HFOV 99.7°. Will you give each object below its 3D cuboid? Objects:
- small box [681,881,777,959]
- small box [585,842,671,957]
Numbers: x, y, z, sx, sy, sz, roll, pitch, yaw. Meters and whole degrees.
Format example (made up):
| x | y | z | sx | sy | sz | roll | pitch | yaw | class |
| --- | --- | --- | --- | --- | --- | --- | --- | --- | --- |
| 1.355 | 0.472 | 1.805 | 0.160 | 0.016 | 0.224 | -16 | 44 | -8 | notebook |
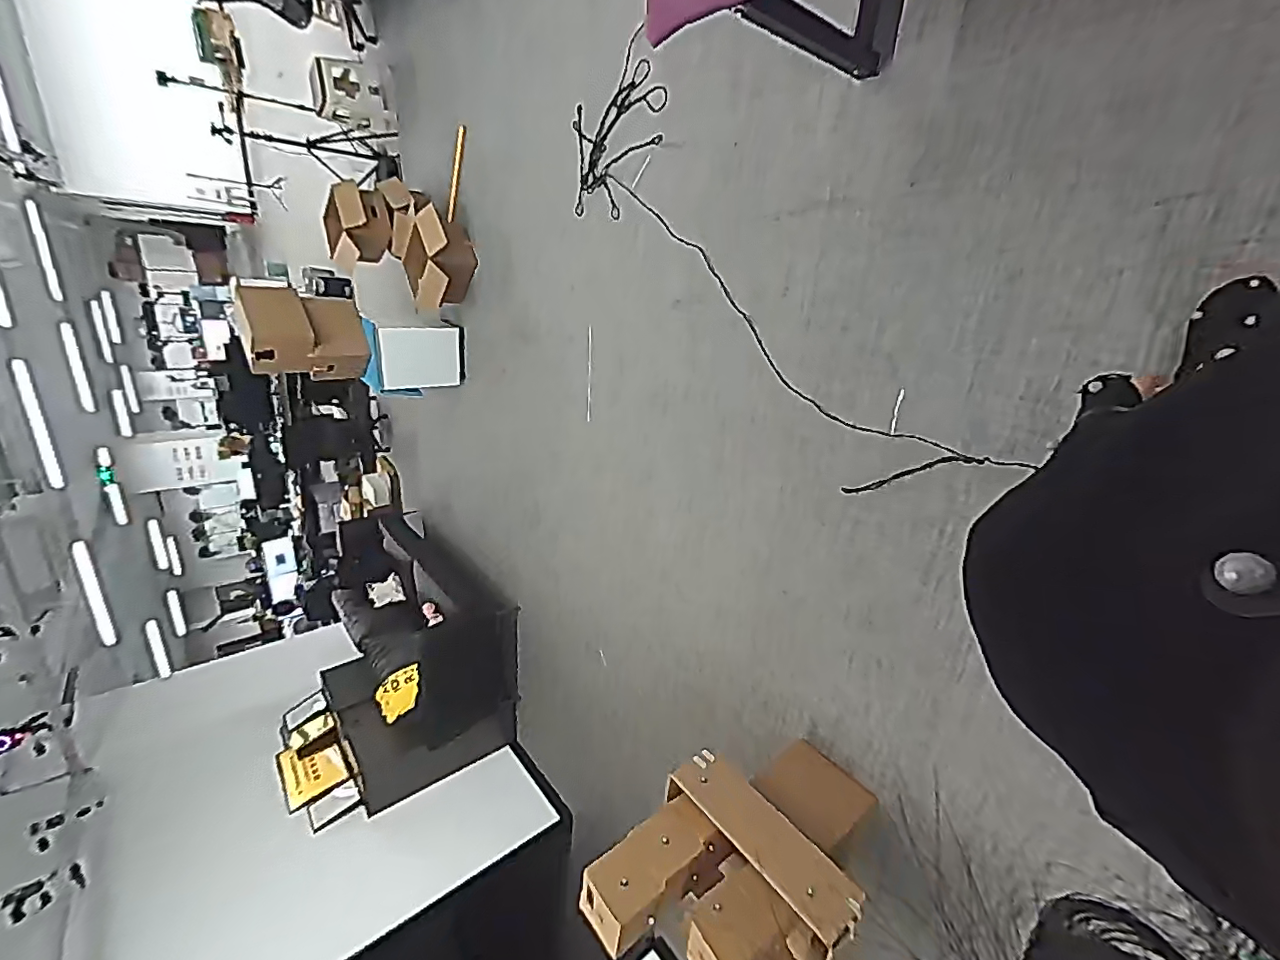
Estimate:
| x | y | z | sx | sy | sz | roll | pitch | yaw | class |
| --- | --- | --- | --- | --- | --- | --- | --- | --- | --- |
| 0.242 | 1.254 | 1.486 | 0.179 | 0.176 | 0.168 | 37 | 129 | 44 | small box |
| -0.037 | 1.189 | 1.554 | 0.179 | 0.176 | 0.168 | 31 | 123 | 42 | small box |
